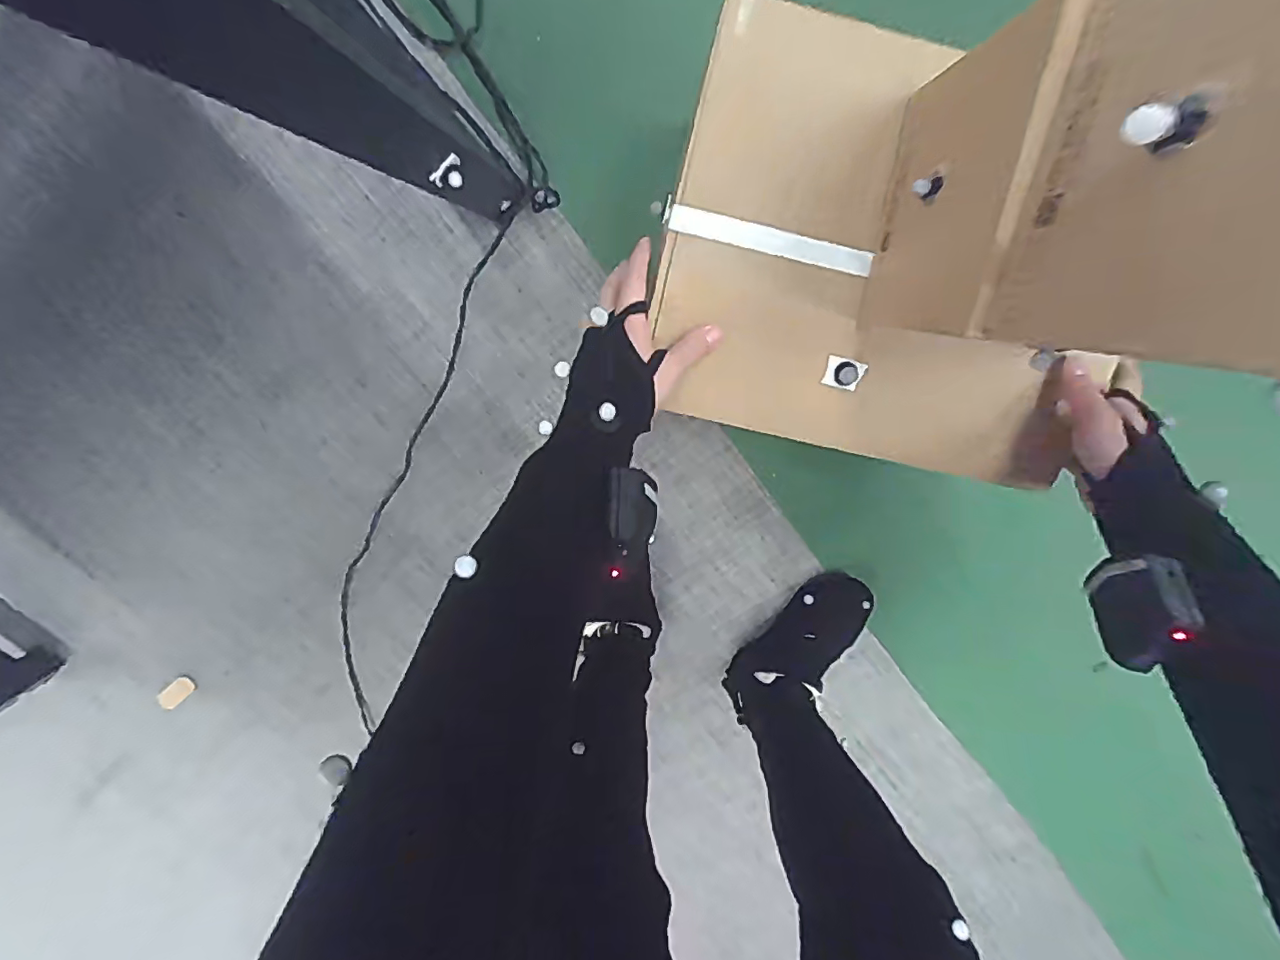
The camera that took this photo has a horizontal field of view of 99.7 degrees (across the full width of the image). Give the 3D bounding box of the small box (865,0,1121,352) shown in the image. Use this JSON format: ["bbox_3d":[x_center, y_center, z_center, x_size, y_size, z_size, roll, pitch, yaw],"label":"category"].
[{"bbox_3d":[0.275,-0.176,0.356,0.179,0.176,0.168,6,109,-1],"label":"small box"}]

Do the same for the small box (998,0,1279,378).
[{"bbox_3d":[0.282,-0.122,0.201,0.179,0.176,0.168,8,109,0],"label":"small box"}]
